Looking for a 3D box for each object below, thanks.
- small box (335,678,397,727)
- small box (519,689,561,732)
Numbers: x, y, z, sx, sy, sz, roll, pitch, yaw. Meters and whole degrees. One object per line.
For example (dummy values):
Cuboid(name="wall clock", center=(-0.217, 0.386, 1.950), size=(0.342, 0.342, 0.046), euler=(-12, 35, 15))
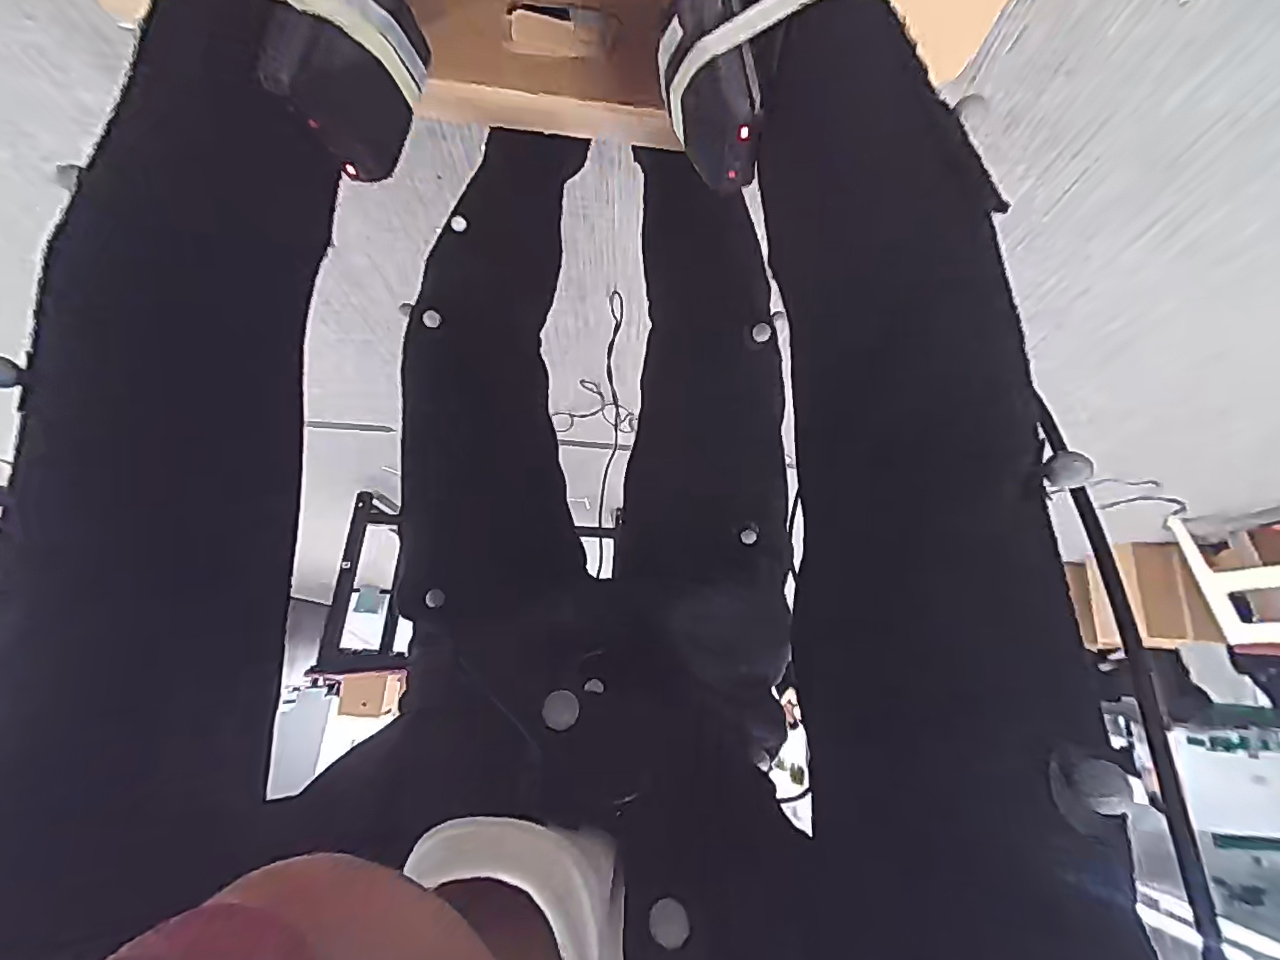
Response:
Cuboid(name="small box", center=(-1.115, 0.909, 2.220), size=(0.179, 0.176, 0.168), euler=(4, 161, -3))
Cuboid(name="small box", center=(-0.453, 1.047, 2.463), size=(0.179, 0.168, 0.176), euler=(-2, 161, -6))
